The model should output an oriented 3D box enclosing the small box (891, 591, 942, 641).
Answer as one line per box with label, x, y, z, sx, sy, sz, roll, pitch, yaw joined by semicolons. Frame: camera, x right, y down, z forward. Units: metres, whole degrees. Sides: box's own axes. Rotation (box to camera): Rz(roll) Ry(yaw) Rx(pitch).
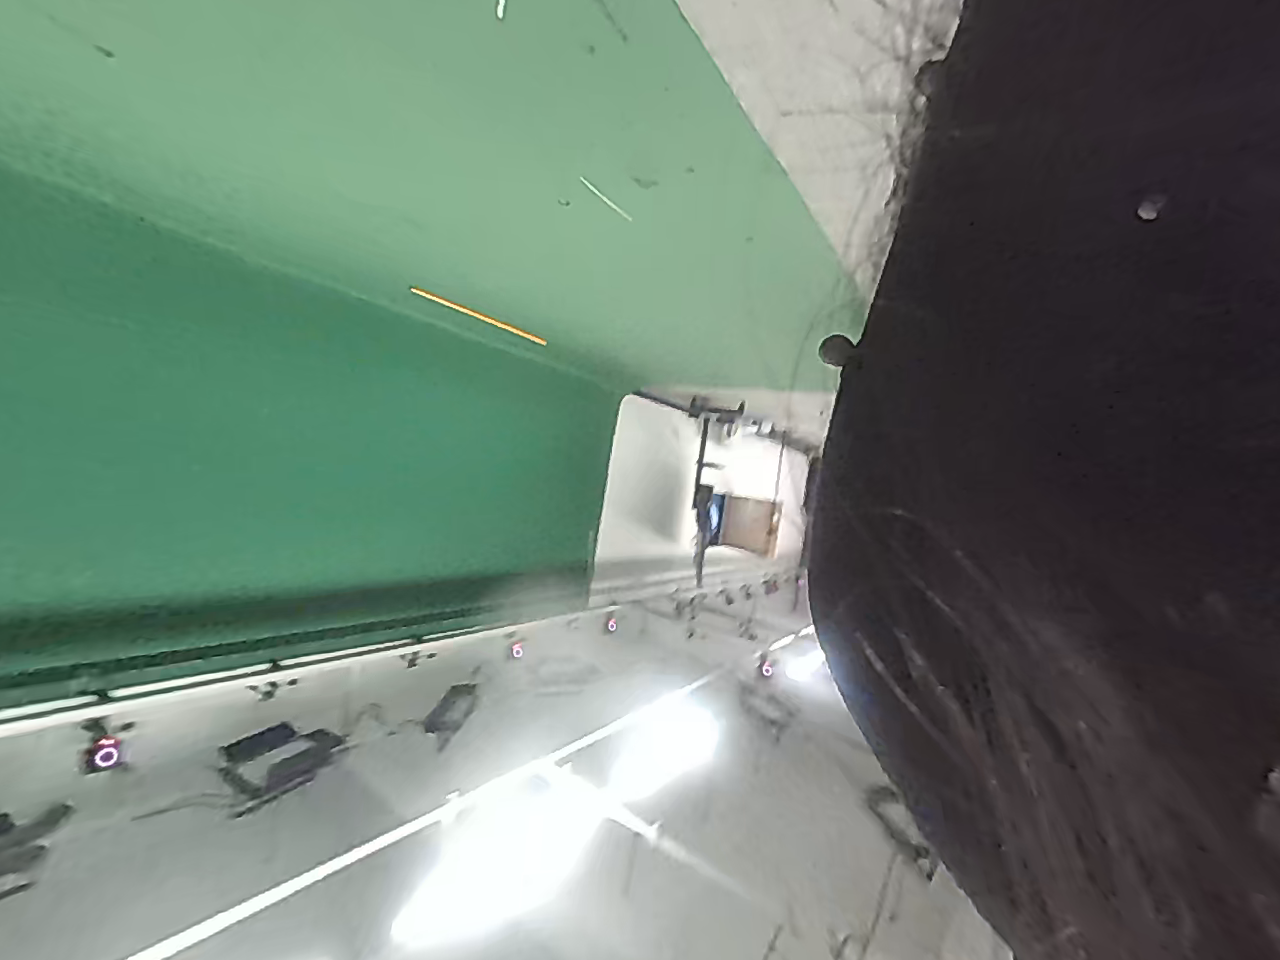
small box;1.272;0.616;2.477;0.168;0.176;0.179;12;-178;35
